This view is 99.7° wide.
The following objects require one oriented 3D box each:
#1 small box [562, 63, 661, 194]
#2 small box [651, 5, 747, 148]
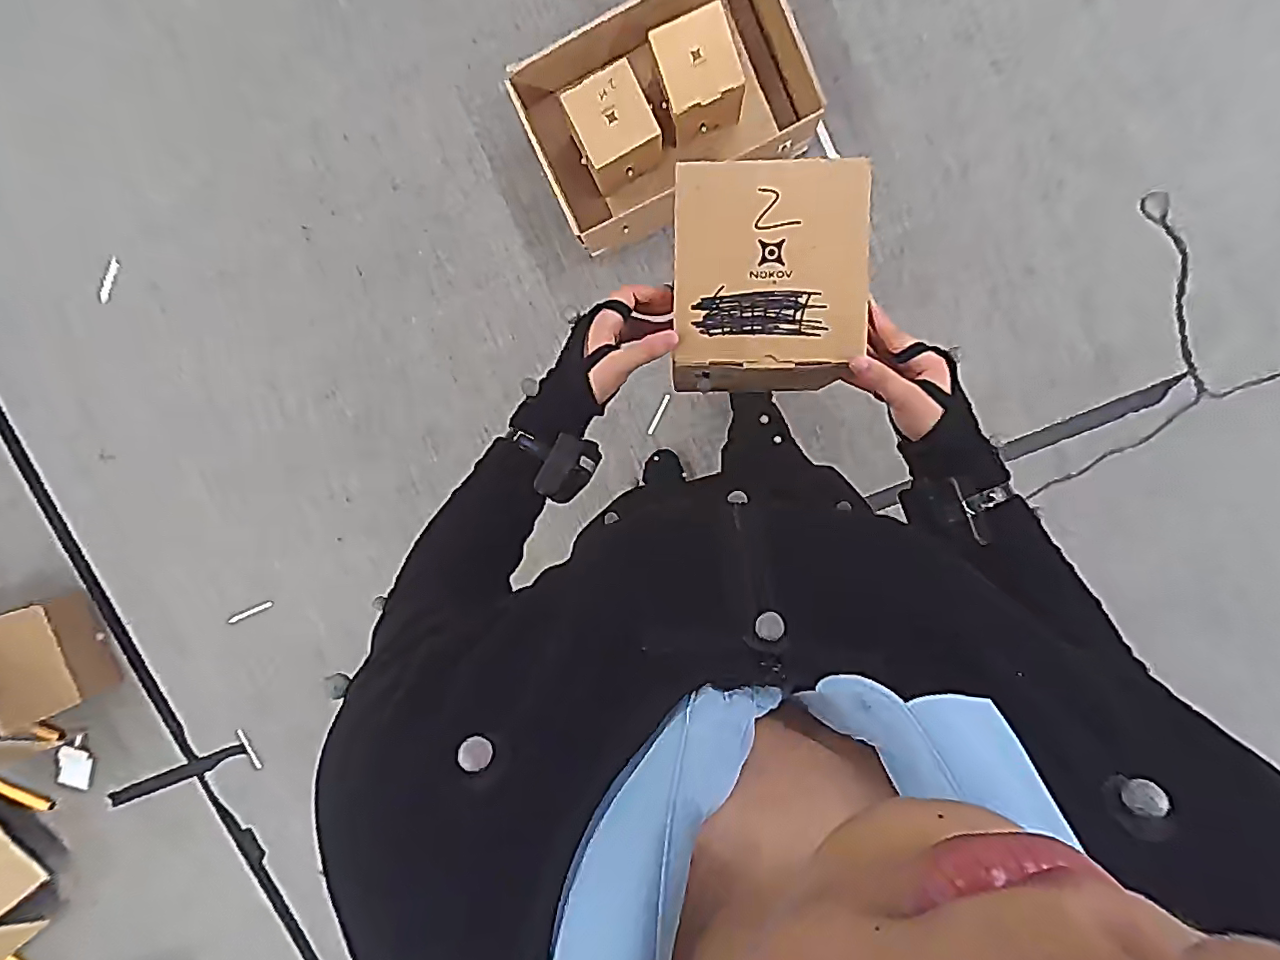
[{"bbox_3d":[-0.059,-0.799,1.257,0.168,0.176,0.179,-26,95,5],"label":"small box"},{"bbox_3d":[0.130,-0.907,1.234,0.168,0.176,0.179,-19,96,7],"label":"small box"}]
